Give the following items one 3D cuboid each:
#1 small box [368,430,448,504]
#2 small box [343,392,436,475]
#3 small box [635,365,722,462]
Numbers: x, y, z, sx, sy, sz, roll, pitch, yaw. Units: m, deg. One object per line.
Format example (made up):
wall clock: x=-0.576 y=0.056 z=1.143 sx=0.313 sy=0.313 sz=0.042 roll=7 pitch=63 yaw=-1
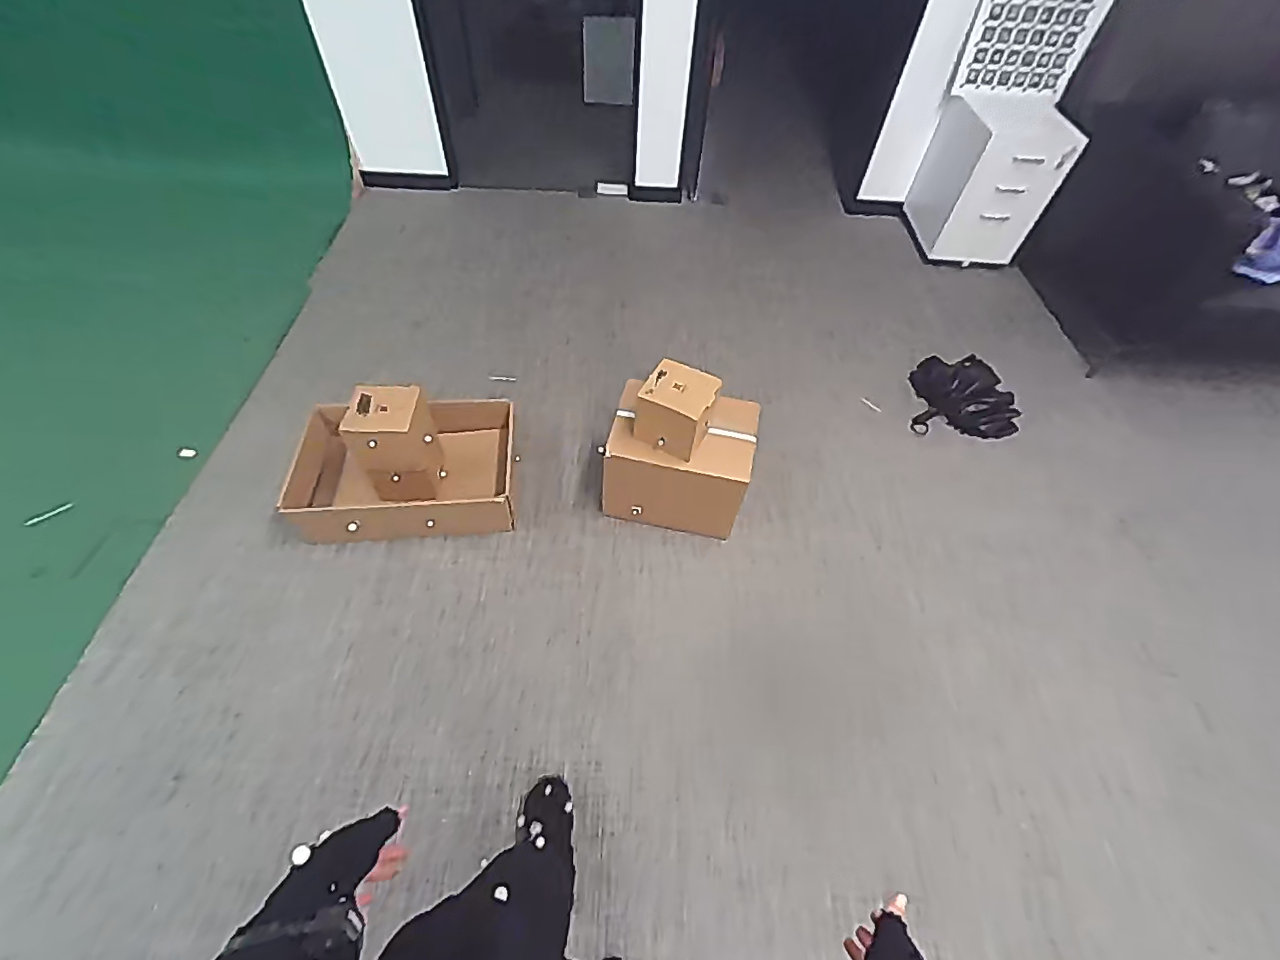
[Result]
small box: x=-0.699 y=-0.037 z=1.642 sx=0.179 sy=0.176 sz=0.168 roll=-1 pitch=54 yaw=-7
small box: x=-0.687 y=-0.126 z=1.503 sx=0.179 sy=0.176 sz=0.168 roll=1 pitch=53 yaw=-5
small box: x=0.100 y=-0.173 z=1.469 sx=0.179 sy=0.176 sz=0.168 roll=25 pitch=55 yaw=13
